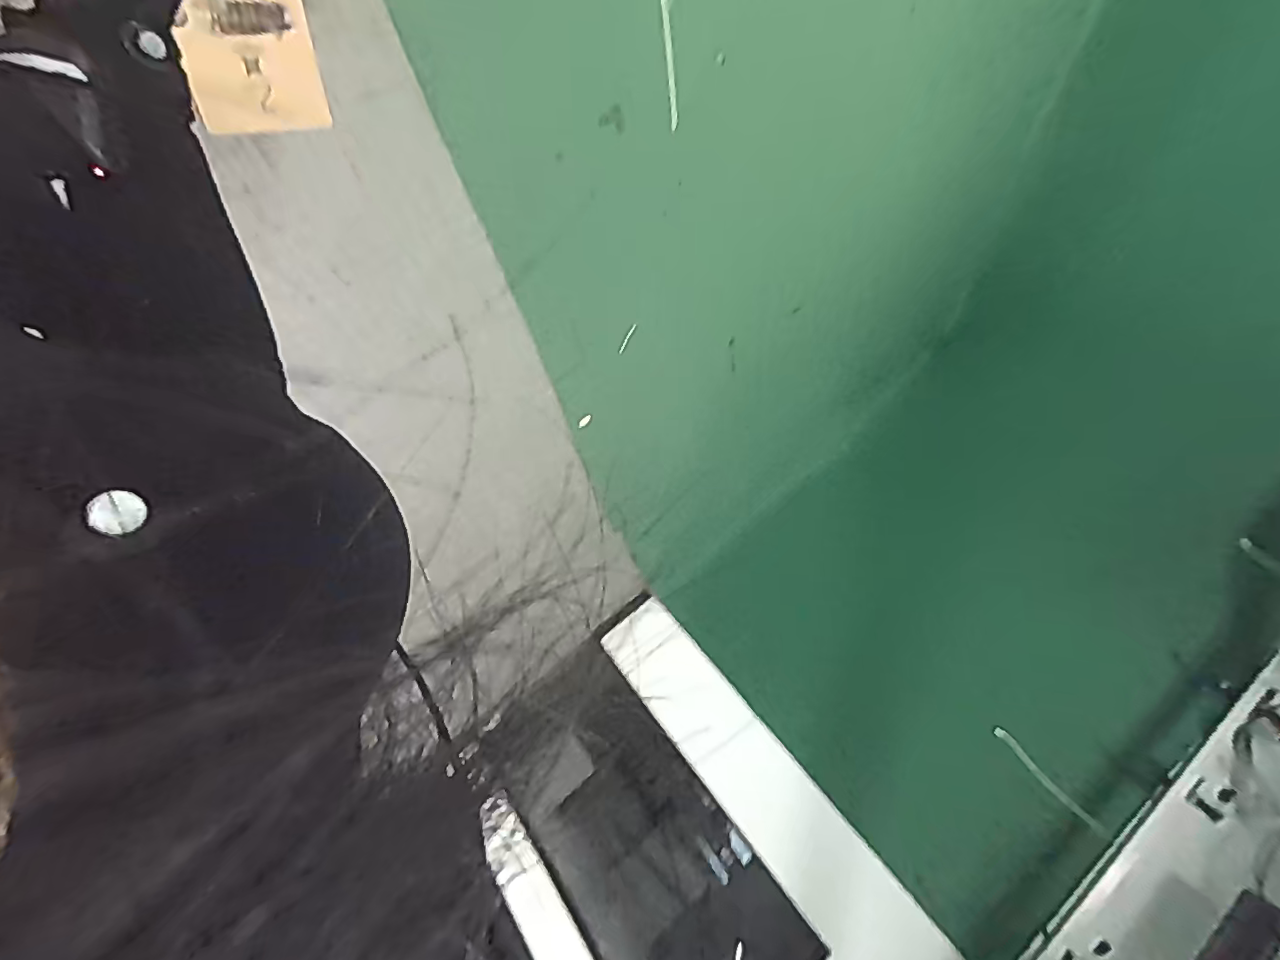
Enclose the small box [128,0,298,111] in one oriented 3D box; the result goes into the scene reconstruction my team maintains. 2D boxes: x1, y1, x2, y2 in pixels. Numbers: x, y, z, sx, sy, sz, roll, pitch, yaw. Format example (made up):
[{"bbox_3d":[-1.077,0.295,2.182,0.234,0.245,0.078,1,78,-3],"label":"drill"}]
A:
[{"bbox_3d":[-0.680,-0.718,0.846,0.168,0.176,0.179,-31,148,-21],"label":"small box"}]
